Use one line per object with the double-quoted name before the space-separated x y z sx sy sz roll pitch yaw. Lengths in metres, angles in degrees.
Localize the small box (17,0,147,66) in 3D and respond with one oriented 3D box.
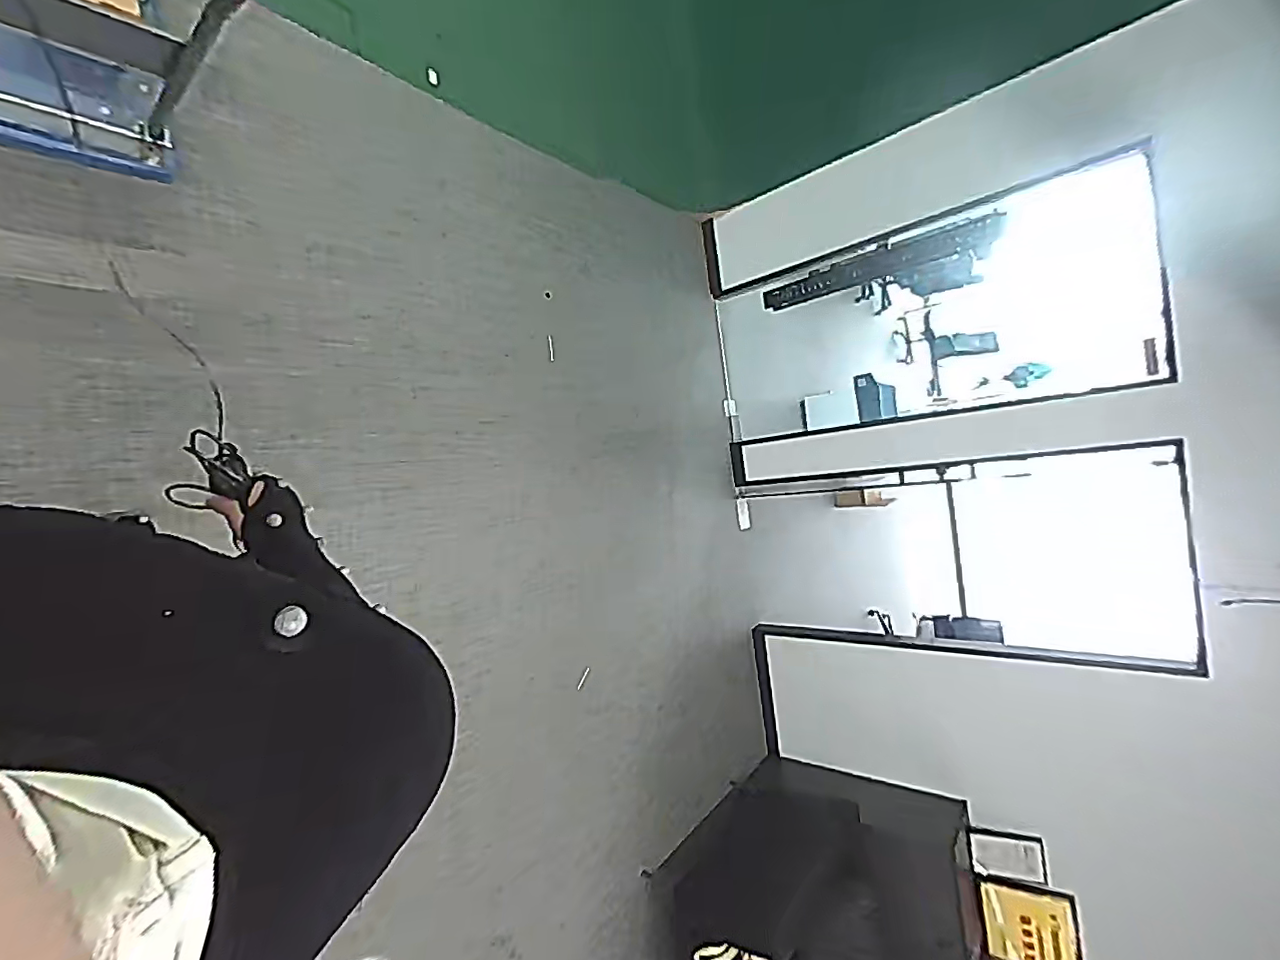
"small box" -1.097 -0.975 1.056 0.168 0.176 0.179 -8 92 -50
